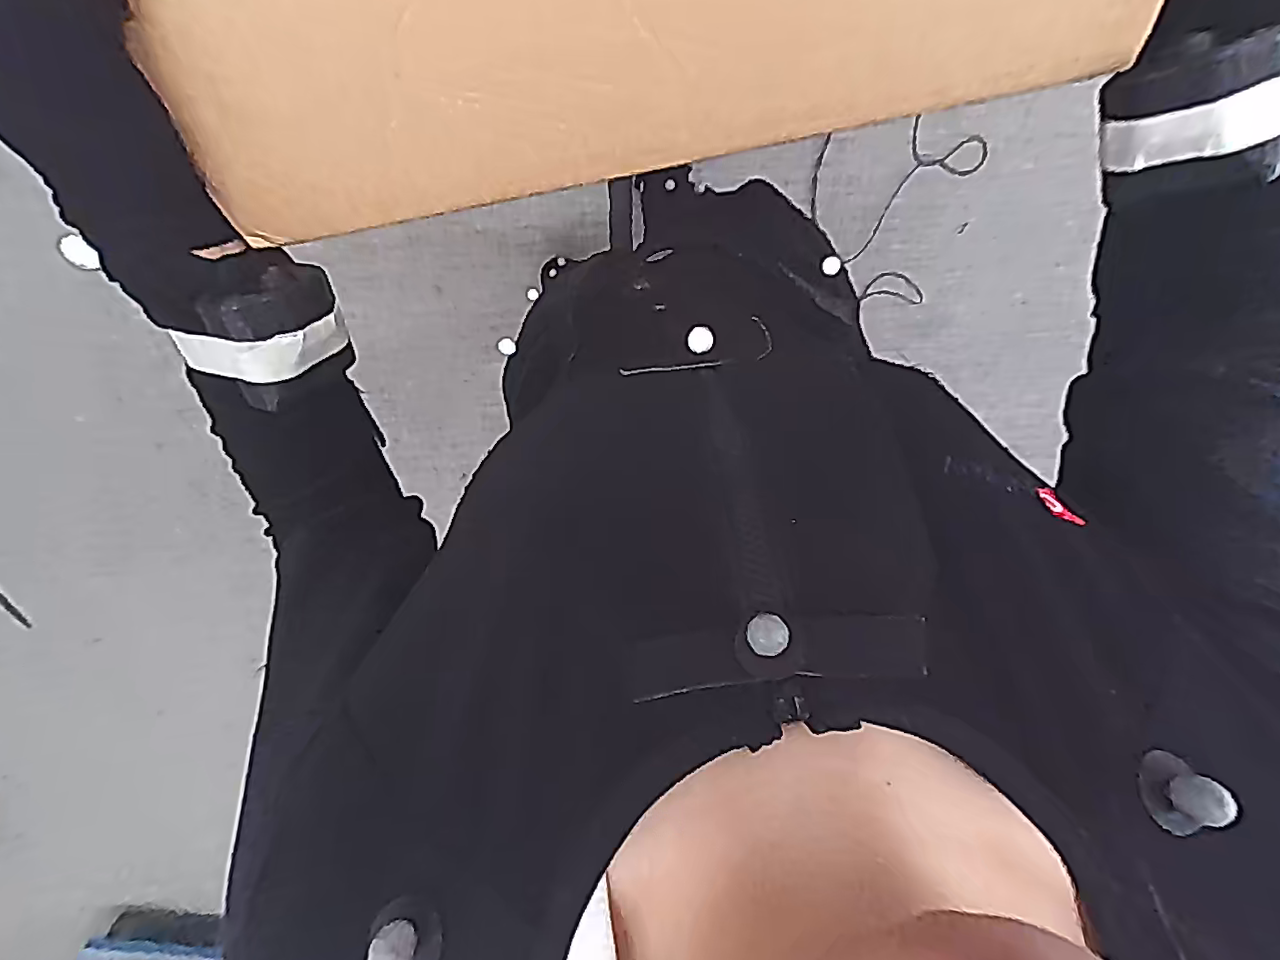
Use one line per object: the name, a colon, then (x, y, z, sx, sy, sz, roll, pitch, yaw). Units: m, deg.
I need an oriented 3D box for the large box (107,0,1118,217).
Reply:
large box: (-0.024, -0.369, 0.232, 0.408, 0.320, 0.320, -9, 139, 3)
